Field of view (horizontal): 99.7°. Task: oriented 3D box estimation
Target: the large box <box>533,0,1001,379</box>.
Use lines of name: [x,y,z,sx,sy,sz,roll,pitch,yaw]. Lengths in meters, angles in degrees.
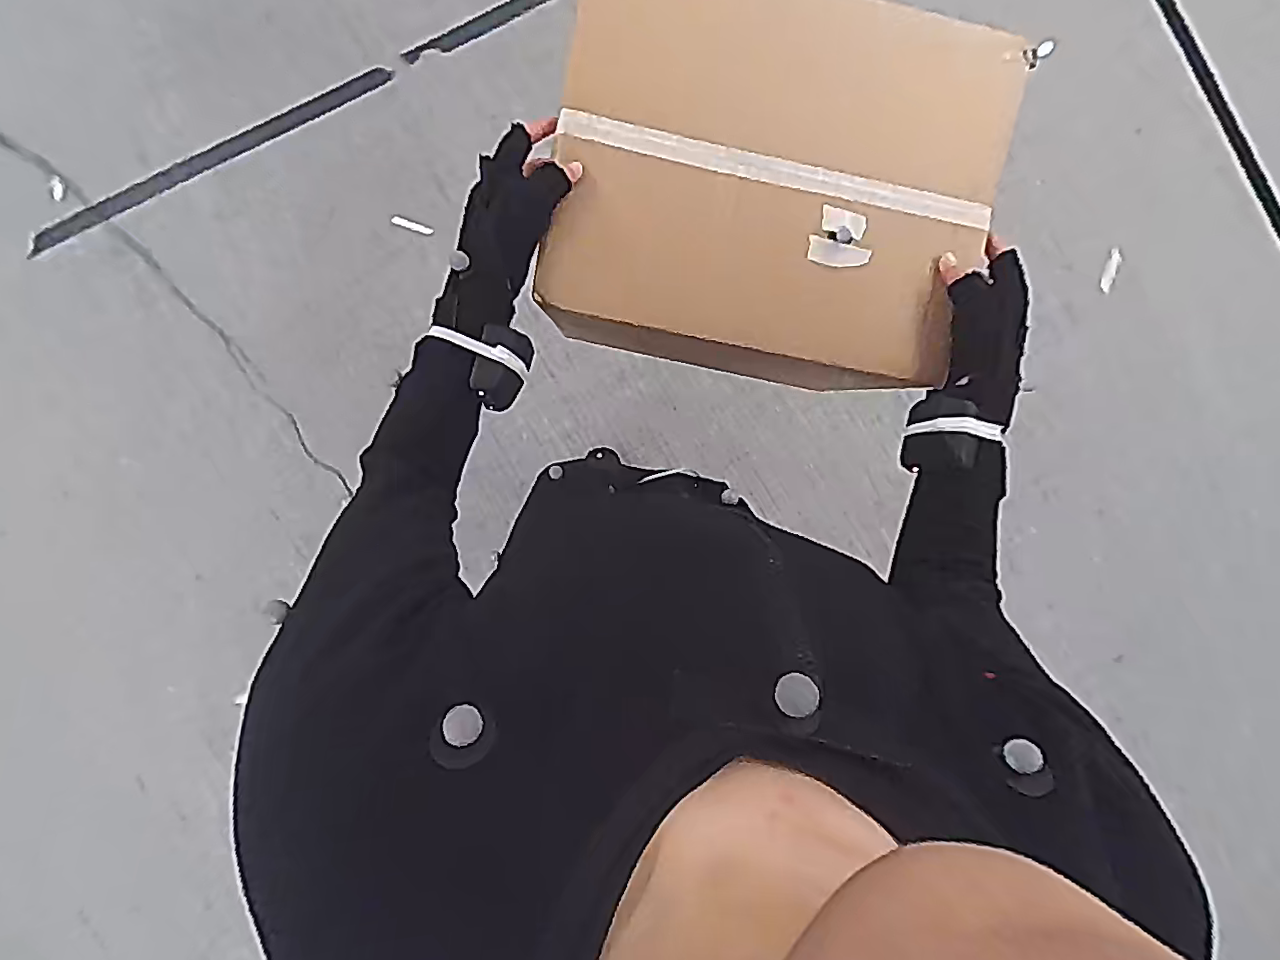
large box: [0.105,-0.310,0.650,0.408,0.320,0.320,10,99,-5]
